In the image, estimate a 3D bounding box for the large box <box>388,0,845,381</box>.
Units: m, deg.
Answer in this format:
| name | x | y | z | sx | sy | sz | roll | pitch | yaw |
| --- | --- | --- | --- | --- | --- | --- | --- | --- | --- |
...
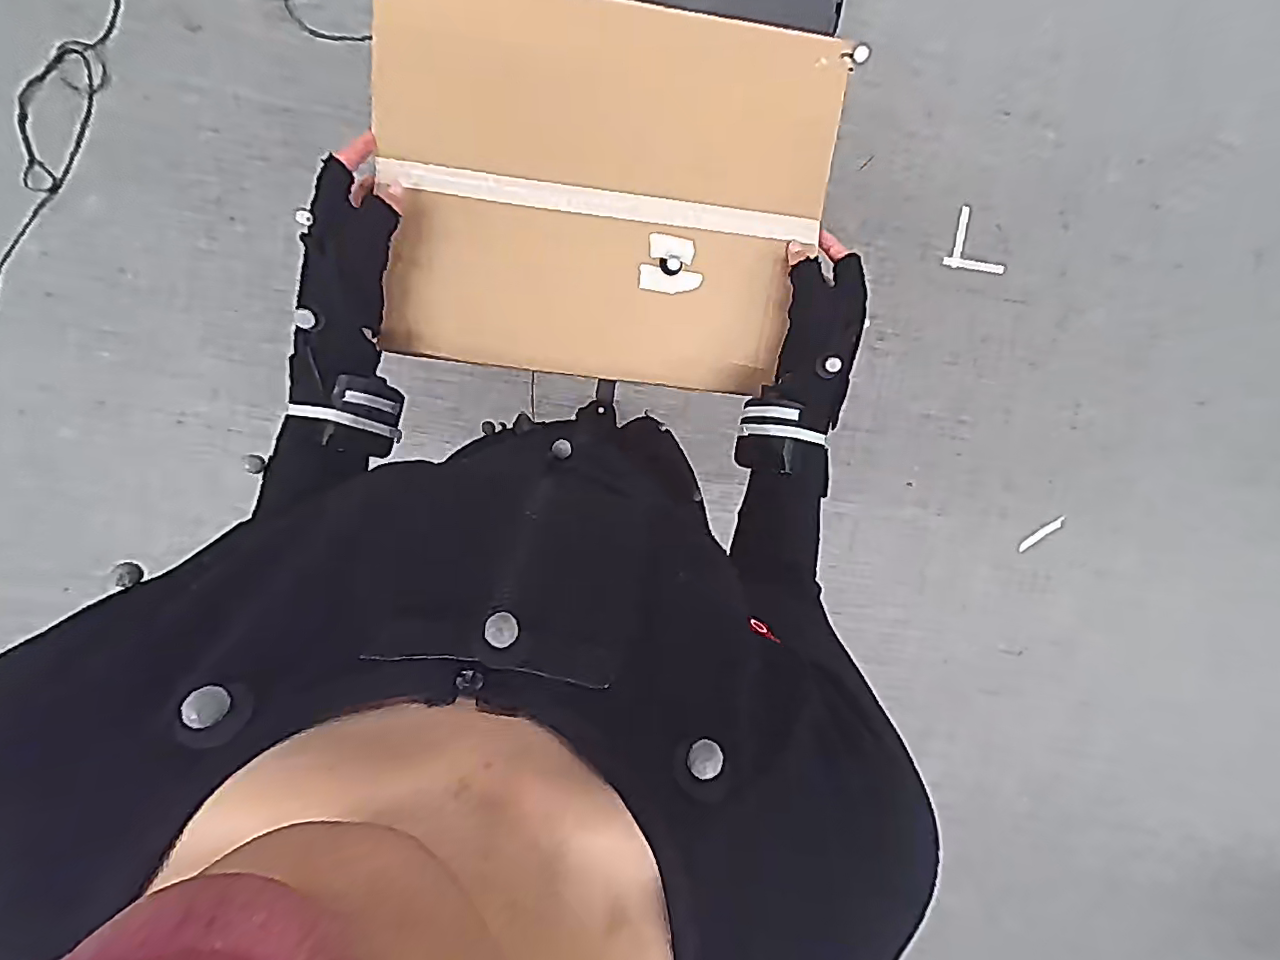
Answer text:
| name | x | y | z | sx | sy | sz | roll | pitch | yaw |
| --- | --- | --- | --- | --- | --- | --- | --- | --- | --- |
| large box | -0.039 | -0.302 | 0.644 | 0.408 | 0.320 | 0.320 | 5 | 106 | -6 |
